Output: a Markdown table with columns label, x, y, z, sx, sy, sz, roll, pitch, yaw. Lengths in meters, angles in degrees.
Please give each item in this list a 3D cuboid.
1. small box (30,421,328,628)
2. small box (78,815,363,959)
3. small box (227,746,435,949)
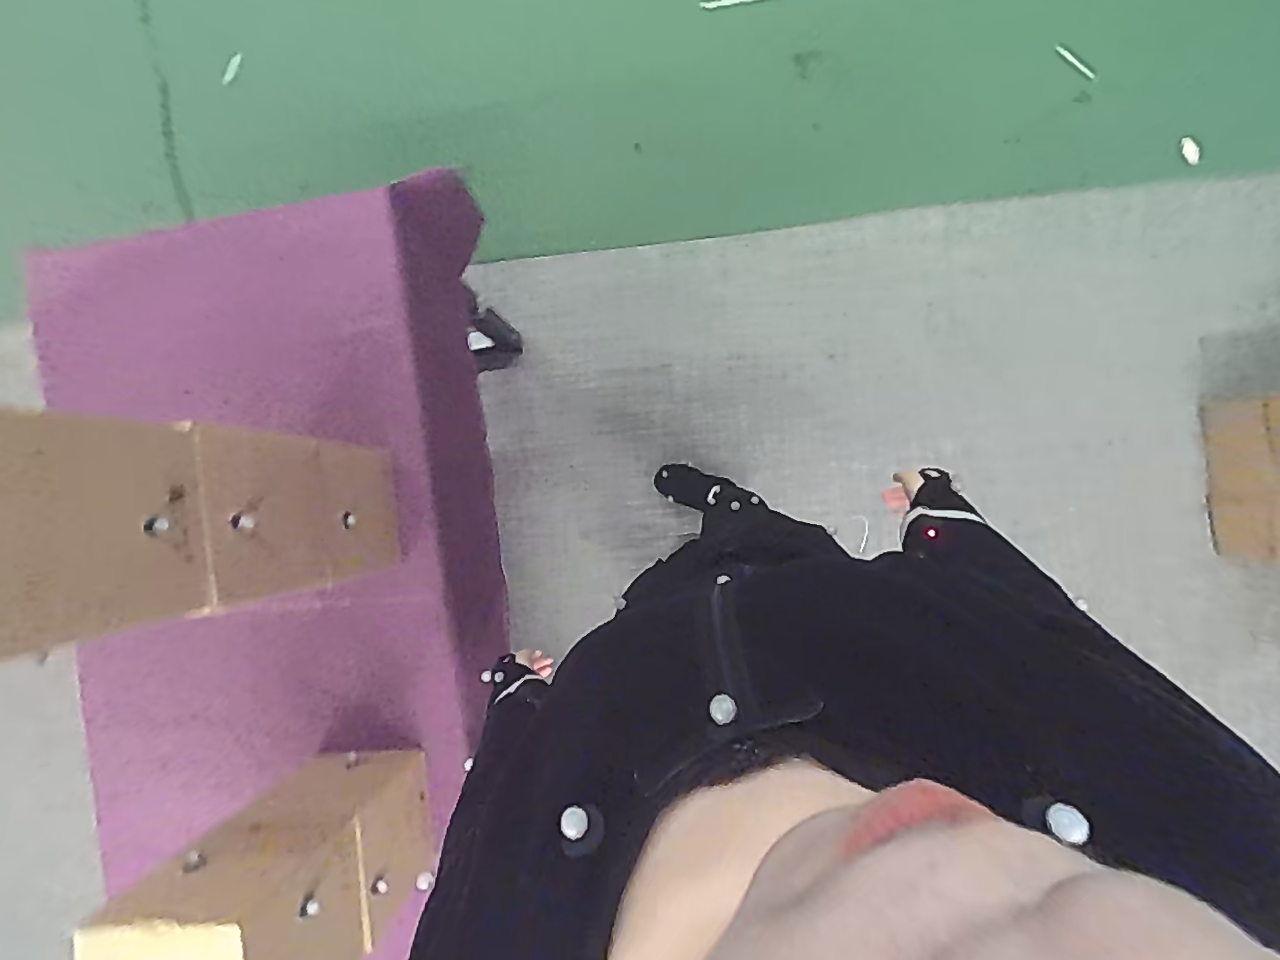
| label | x | y | z | sx | sy | sz | roll | pitch | yaw |
| --- | --- | --- | --- | --- | --- | --- | --- | --- | --- |
| small box | -0.467 | 0.042 | 0.574 | 0.168 | 0.176 | 0.179 | -8 | 90 | 4 |
| small box | -0.416 | 0.478 | 0.564 | 0.168 | 0.176 | 0.179 | -5 | 89 | 5 |
| small box | -0.403 | 0.480 | 0.727 | 0.179 | 0.176 | 0.168 | -6 | 89 | 5 |
